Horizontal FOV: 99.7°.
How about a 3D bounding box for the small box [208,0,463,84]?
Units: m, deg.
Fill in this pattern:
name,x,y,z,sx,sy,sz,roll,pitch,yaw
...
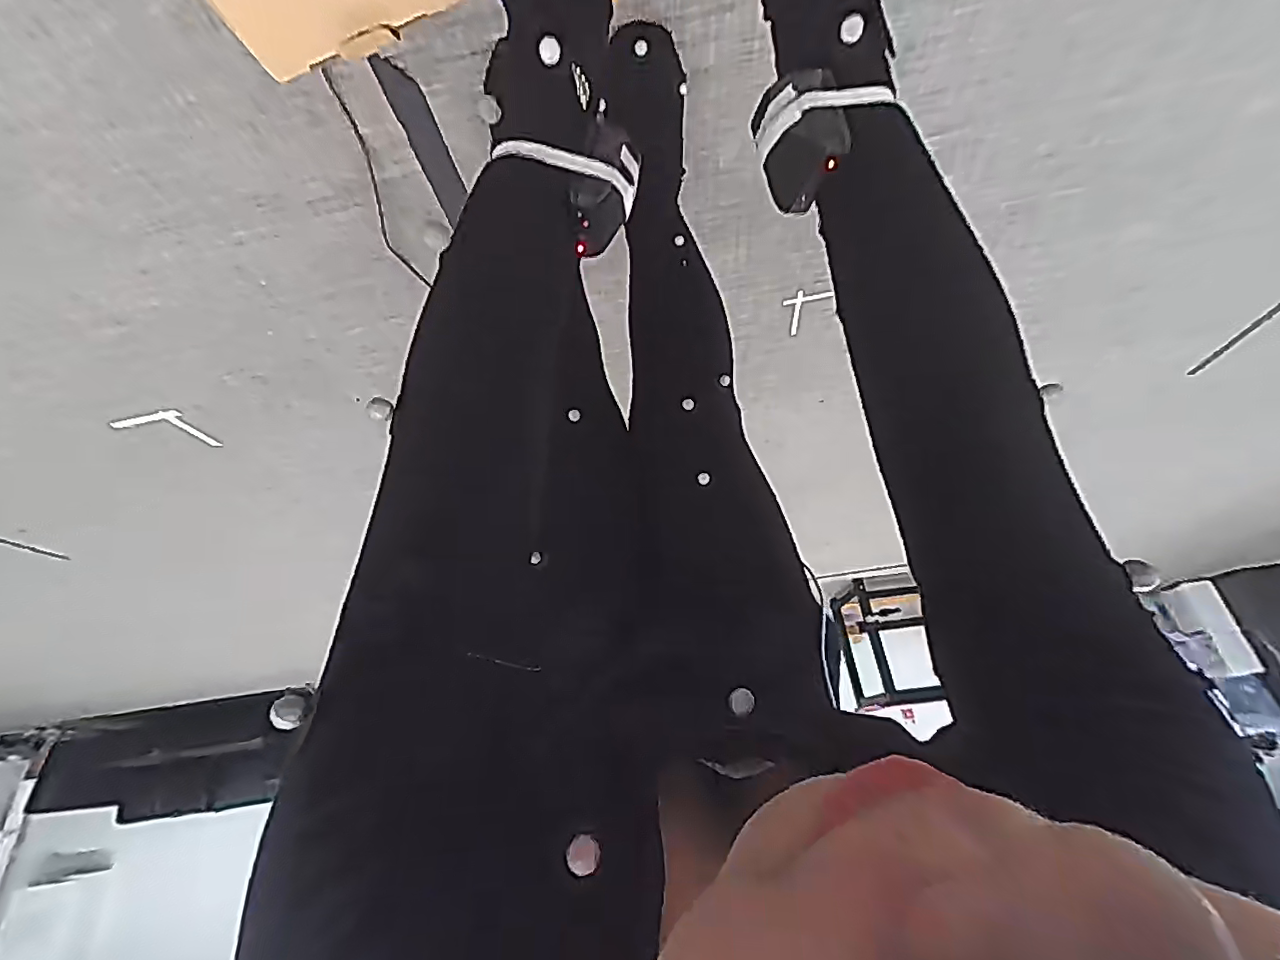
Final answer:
name,x,y,z,sx,sy,sz,roll,pitch,yaw
small box,-0.234,-0.428,0.363,0.168,0.176,0.179,-14,154,11
